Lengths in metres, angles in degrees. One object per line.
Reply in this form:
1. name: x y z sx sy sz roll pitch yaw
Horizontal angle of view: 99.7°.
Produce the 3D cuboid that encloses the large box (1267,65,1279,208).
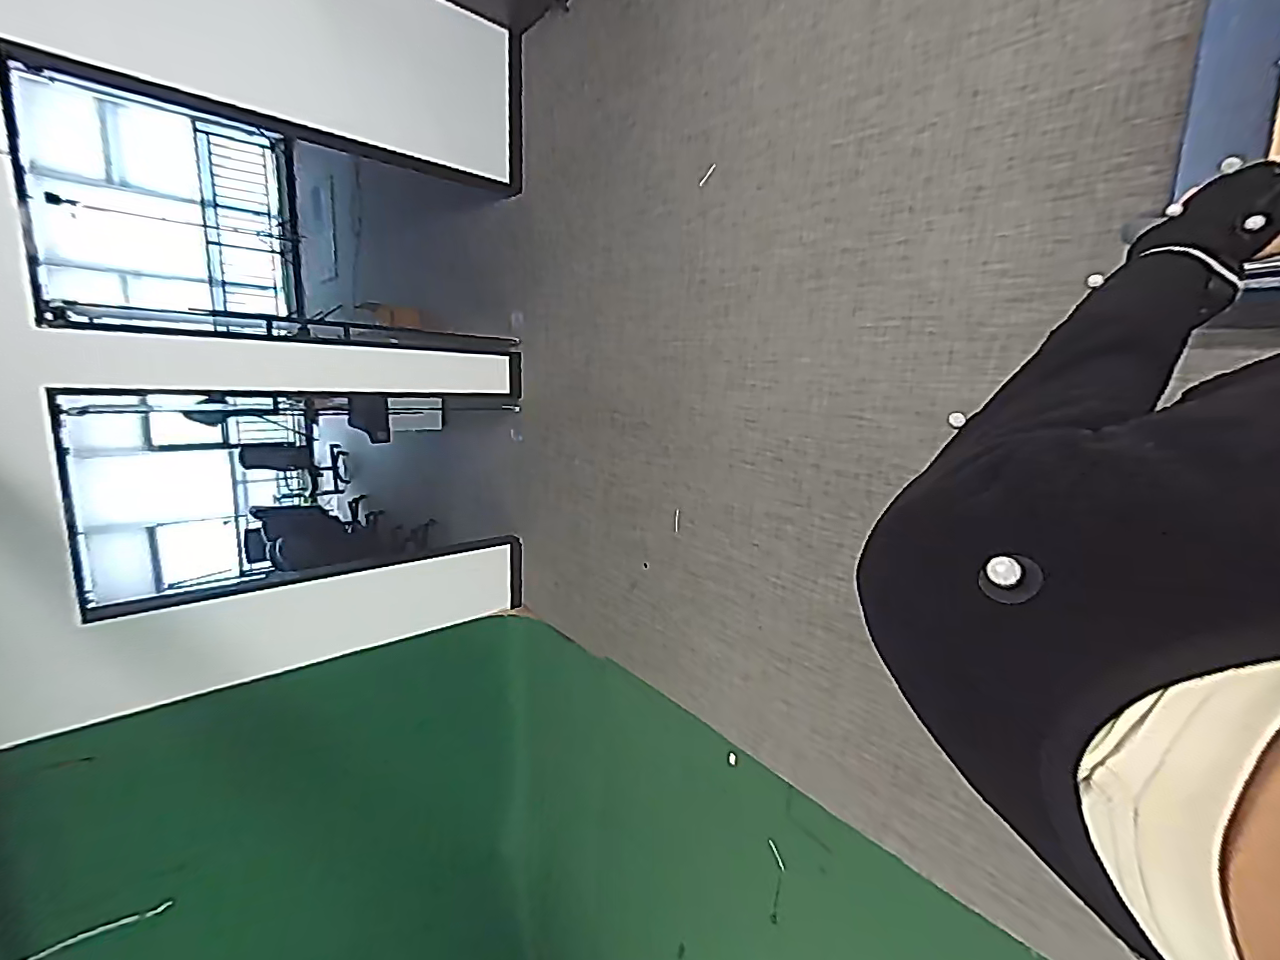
1. large box: 1.109 -0.638 0.720 0.320 0.320 0.408 12 104 48
